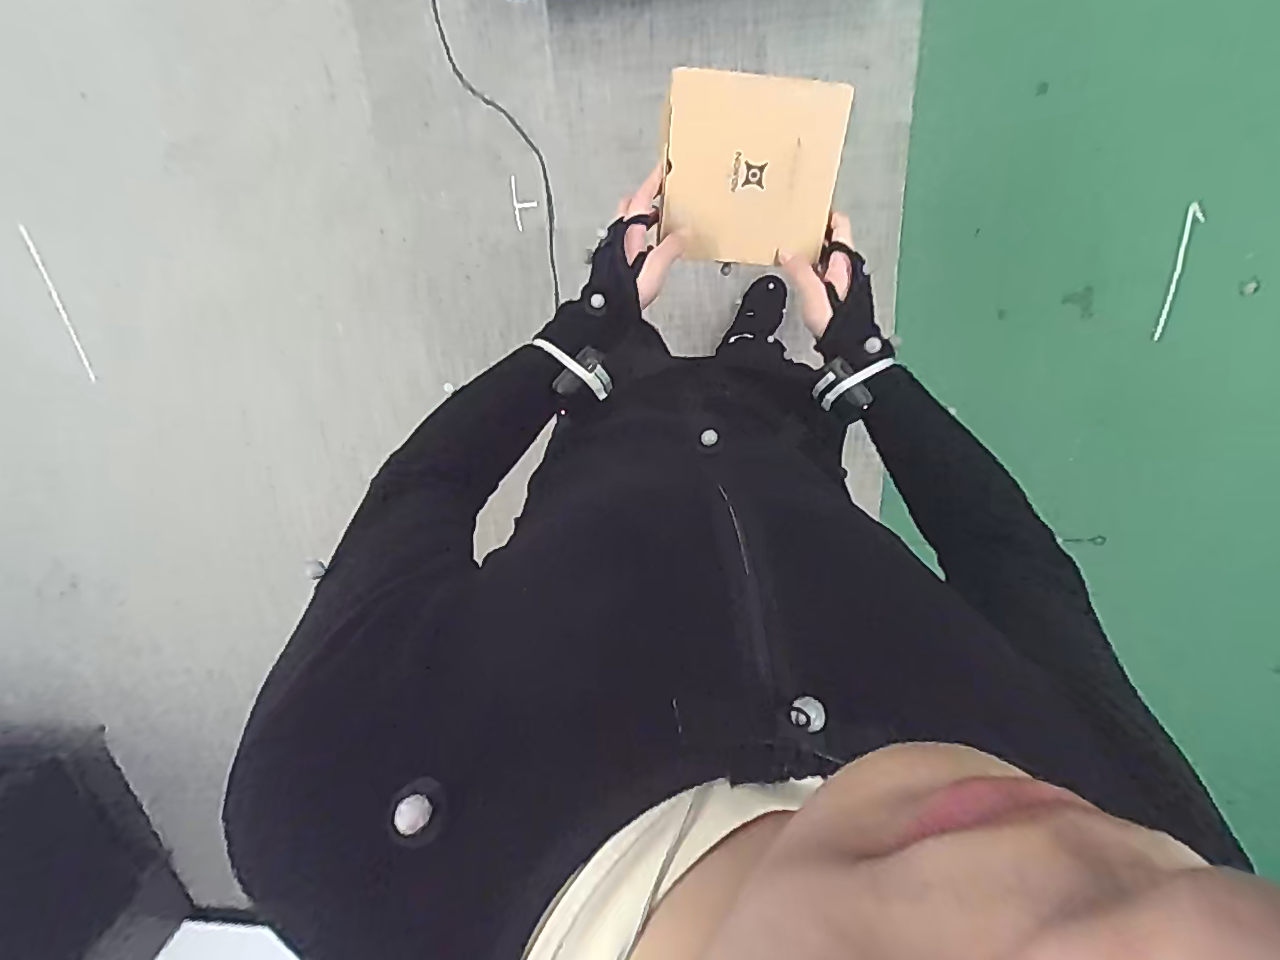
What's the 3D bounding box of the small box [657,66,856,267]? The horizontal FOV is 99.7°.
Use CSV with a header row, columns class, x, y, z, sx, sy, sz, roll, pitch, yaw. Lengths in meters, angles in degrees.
class,x,y,z,sx,sy,sz,roll,pitch,yaw
small box,0.113,-0.340,0.614,0.179,0.176,0.168,4,115,-2
